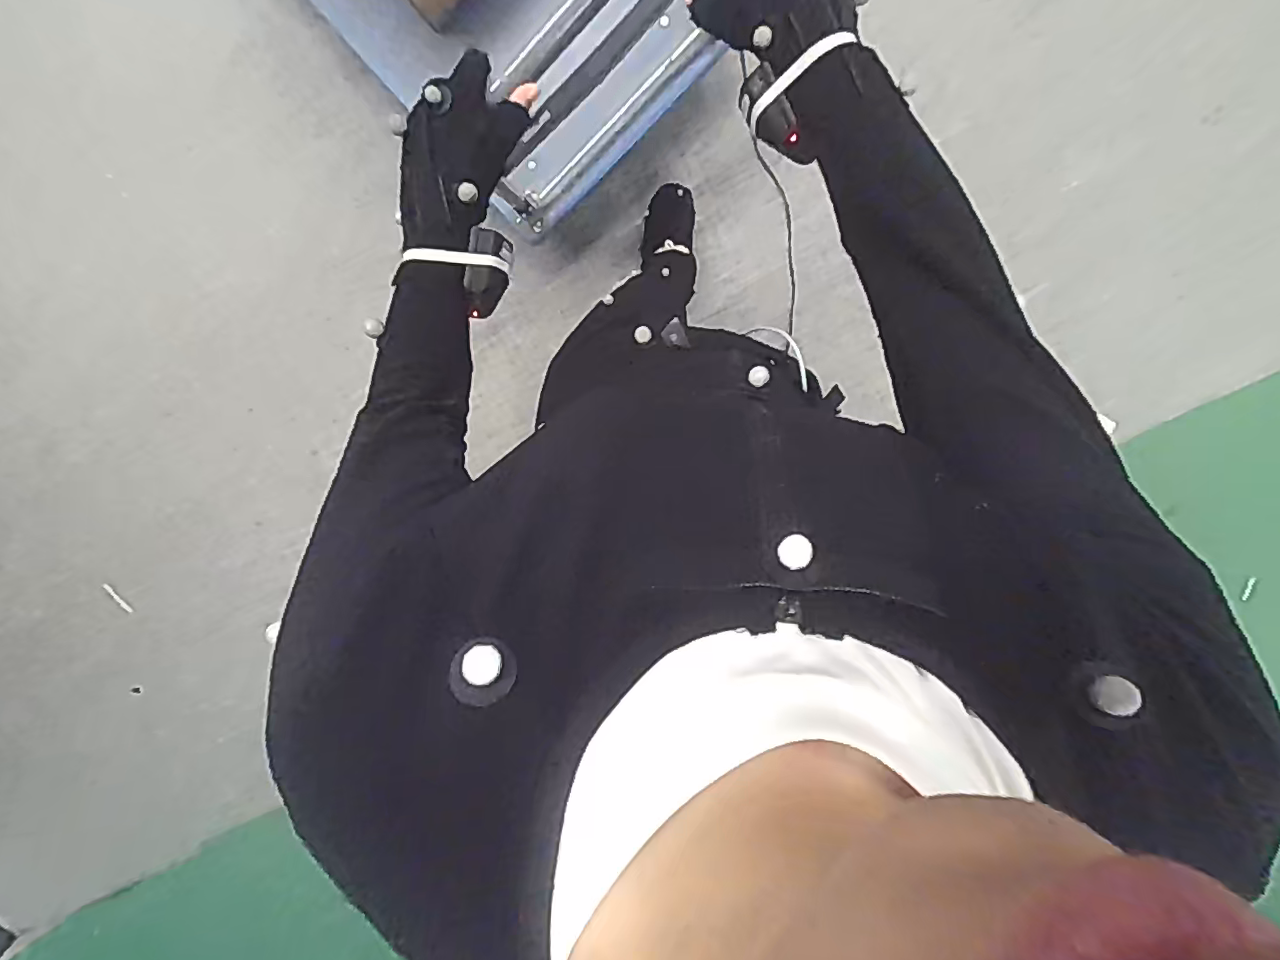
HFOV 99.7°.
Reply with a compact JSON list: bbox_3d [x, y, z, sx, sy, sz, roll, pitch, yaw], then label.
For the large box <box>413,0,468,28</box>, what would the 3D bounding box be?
[{"bbox_3d":[-0.326,-1.008,0.776,0.408,0.320,0.320,-43,105,14],"label":"large box"}]
